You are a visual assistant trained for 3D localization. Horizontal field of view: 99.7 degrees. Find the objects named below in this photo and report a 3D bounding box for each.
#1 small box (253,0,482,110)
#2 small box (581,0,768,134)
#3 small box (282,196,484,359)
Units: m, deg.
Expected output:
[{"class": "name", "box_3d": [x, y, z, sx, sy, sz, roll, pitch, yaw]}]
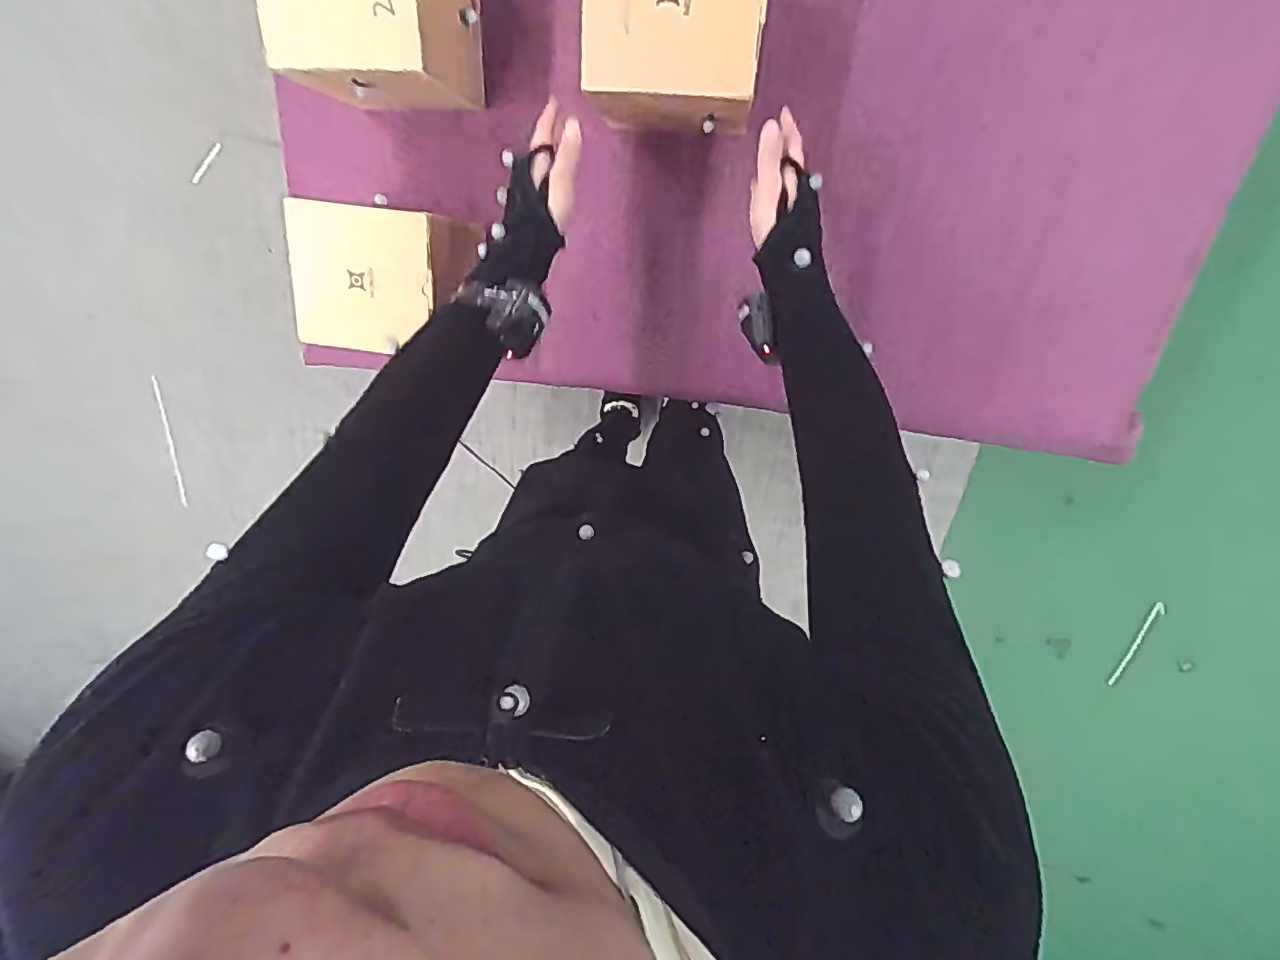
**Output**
[{"class": "small box", "box_3d": [-0.294, -0.529, 0.601, 0.179, 0.176, 0.168, 5, 113, 5]}, {"class": "small box", "box_3d": [0.042, -0.486, 0.578, 0.179, 0.176, 0.168, 7, 112, 5]}, {"class": "small box", "box_3d": [-0.323, -0.261, 0.711, 0.179, 0.176, 0.168, 8, 111, 3]}]
